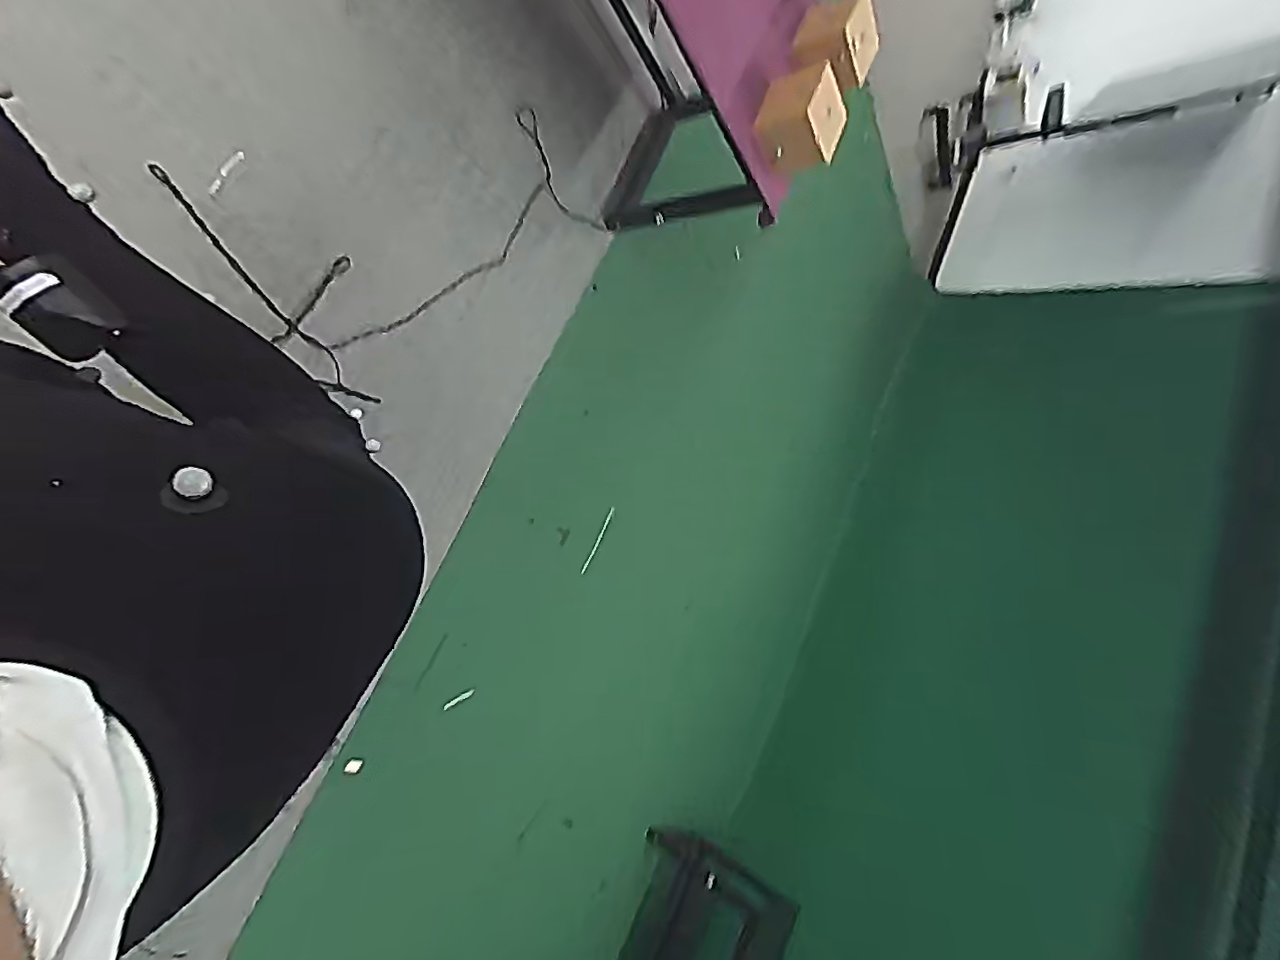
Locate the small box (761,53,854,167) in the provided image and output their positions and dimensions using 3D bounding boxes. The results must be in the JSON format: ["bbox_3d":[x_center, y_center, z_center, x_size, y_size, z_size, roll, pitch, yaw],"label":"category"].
[{"bbox_3d":[0.454,-1.000,1.475,0.168,0.176,0.179,35,75,-45],"label":"small box"}]

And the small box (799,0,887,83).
[{"bbox_3d":[0.577,-1.263,1.539,0.168,0.176,0.179,38,73,-45],"label":"small box"}]
